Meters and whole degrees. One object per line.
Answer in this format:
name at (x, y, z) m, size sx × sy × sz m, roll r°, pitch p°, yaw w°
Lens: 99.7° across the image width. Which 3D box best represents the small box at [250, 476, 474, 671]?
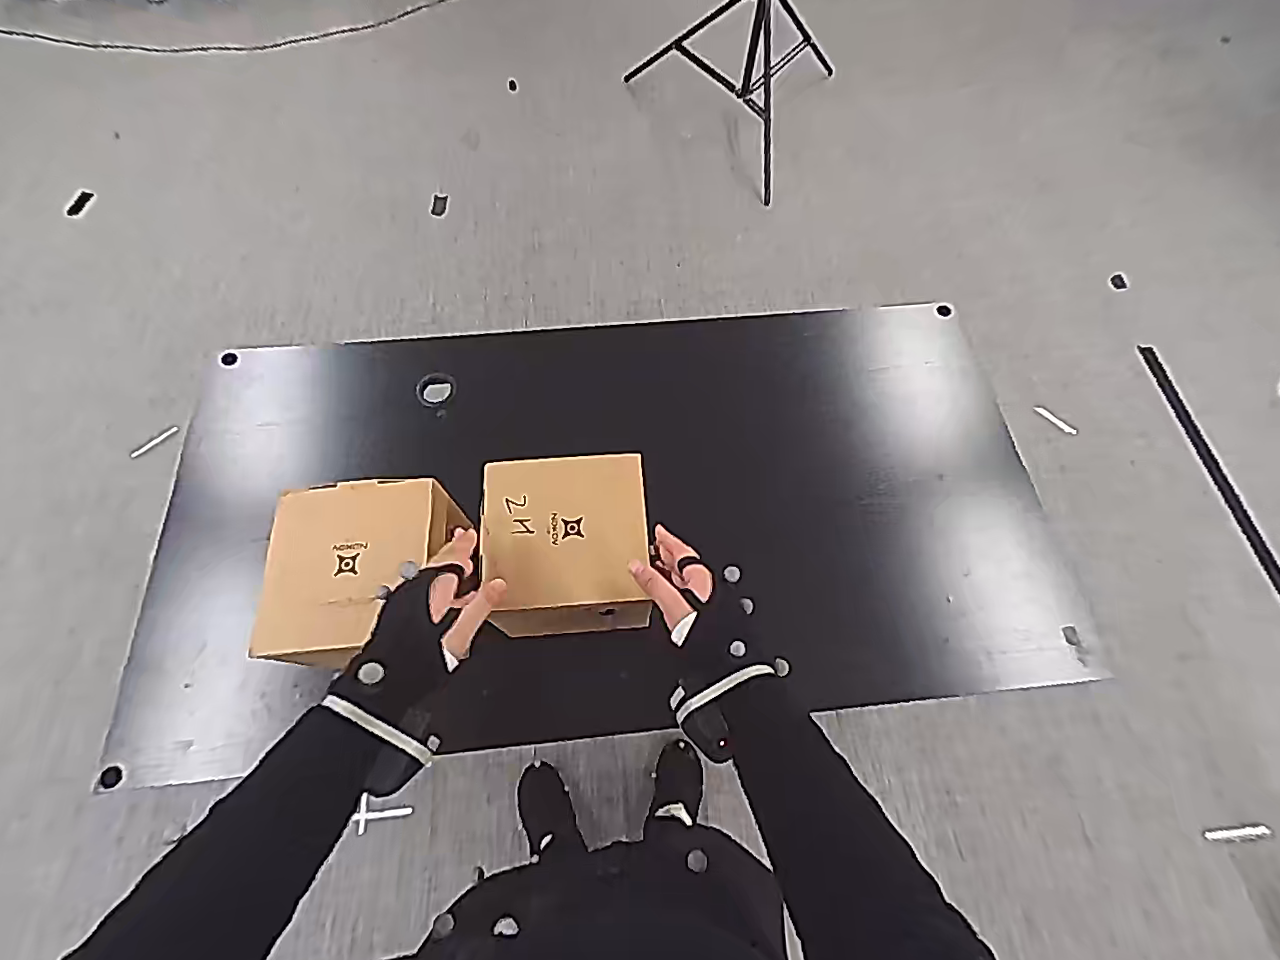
small box at (-0.295, 0.113, 0.618) m, size 0.168 × 0.176 × 0.179 m, roll -6°, pitch 67°, yaw -2°
